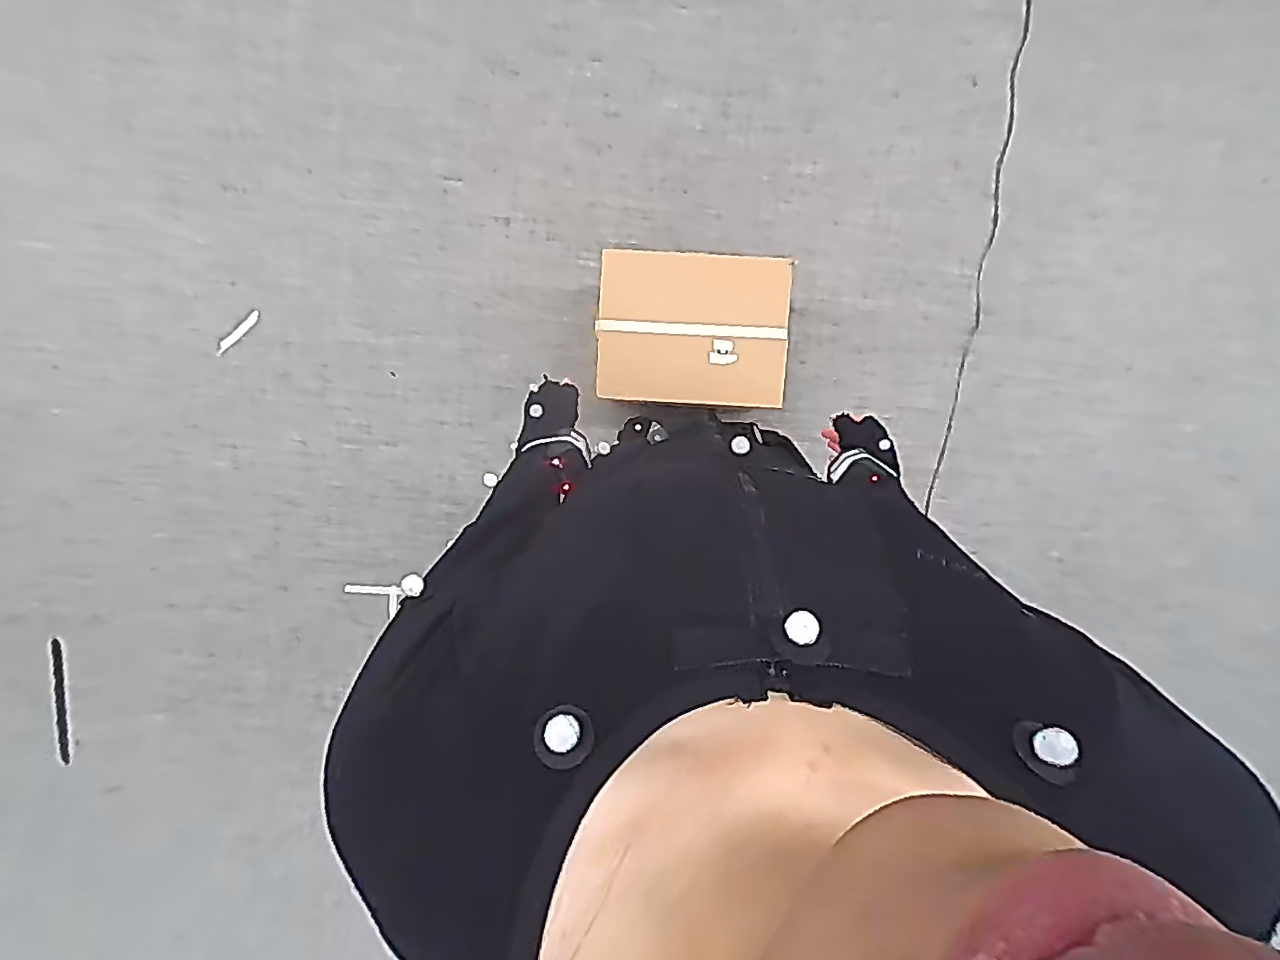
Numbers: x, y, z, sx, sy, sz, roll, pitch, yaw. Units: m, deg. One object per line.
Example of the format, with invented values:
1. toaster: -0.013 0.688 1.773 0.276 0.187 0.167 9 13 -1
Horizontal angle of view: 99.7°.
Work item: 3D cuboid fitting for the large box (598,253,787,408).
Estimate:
1. large box: 0.109 -0.339 1.310 0.408 0.320 0.320 3 97 0
